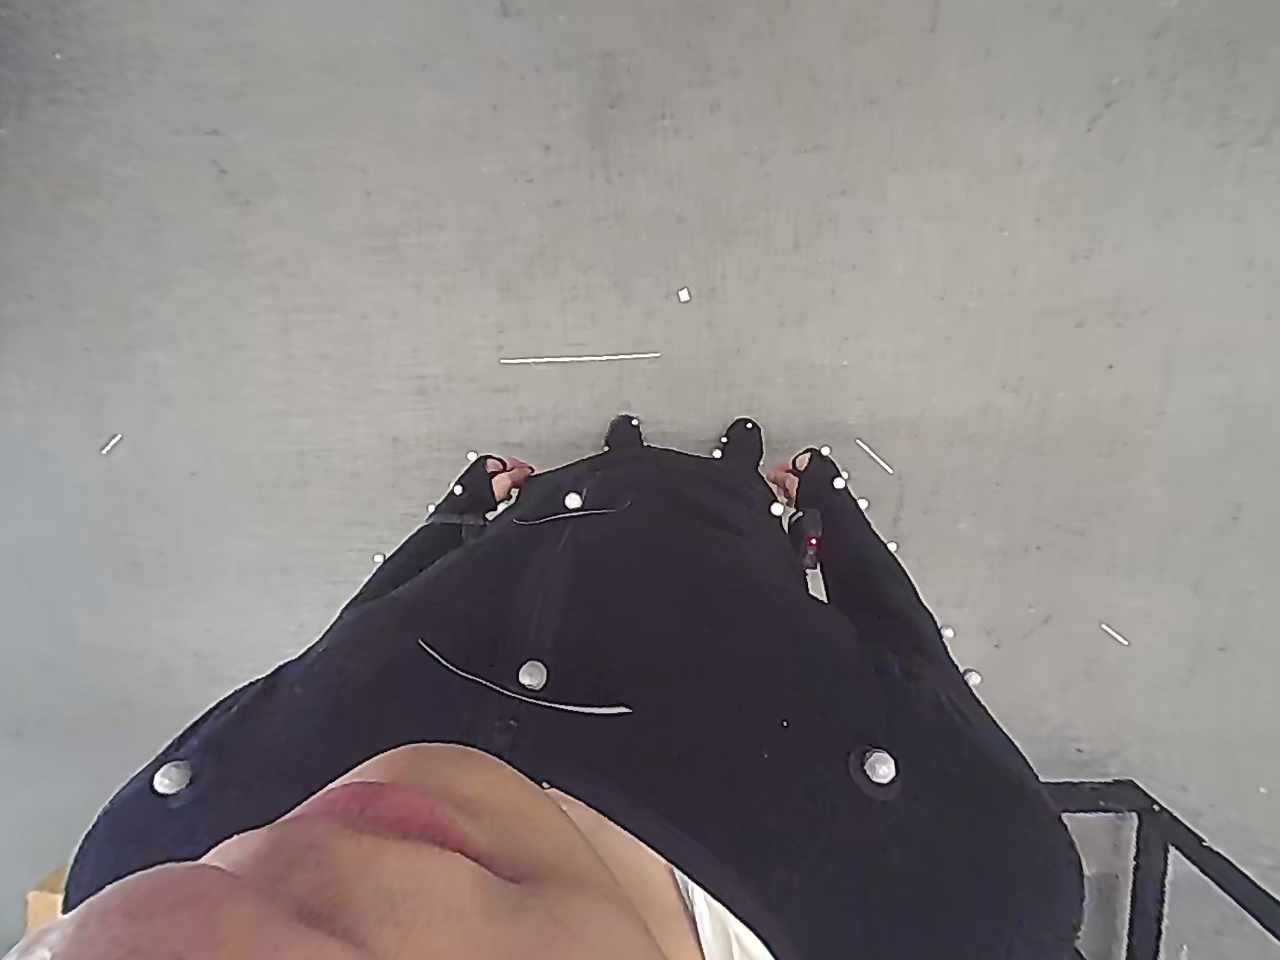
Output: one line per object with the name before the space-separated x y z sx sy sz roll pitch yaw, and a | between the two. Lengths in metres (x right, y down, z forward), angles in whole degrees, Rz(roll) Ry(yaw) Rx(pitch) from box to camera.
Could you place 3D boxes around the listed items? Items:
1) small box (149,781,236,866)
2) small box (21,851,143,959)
small box | -1.478 1.125 1.783 0.179 0.176 0.168 6 96 2
small box | -1.498 1.158 1.460 0.168 0.176 0.179 9 97 2
